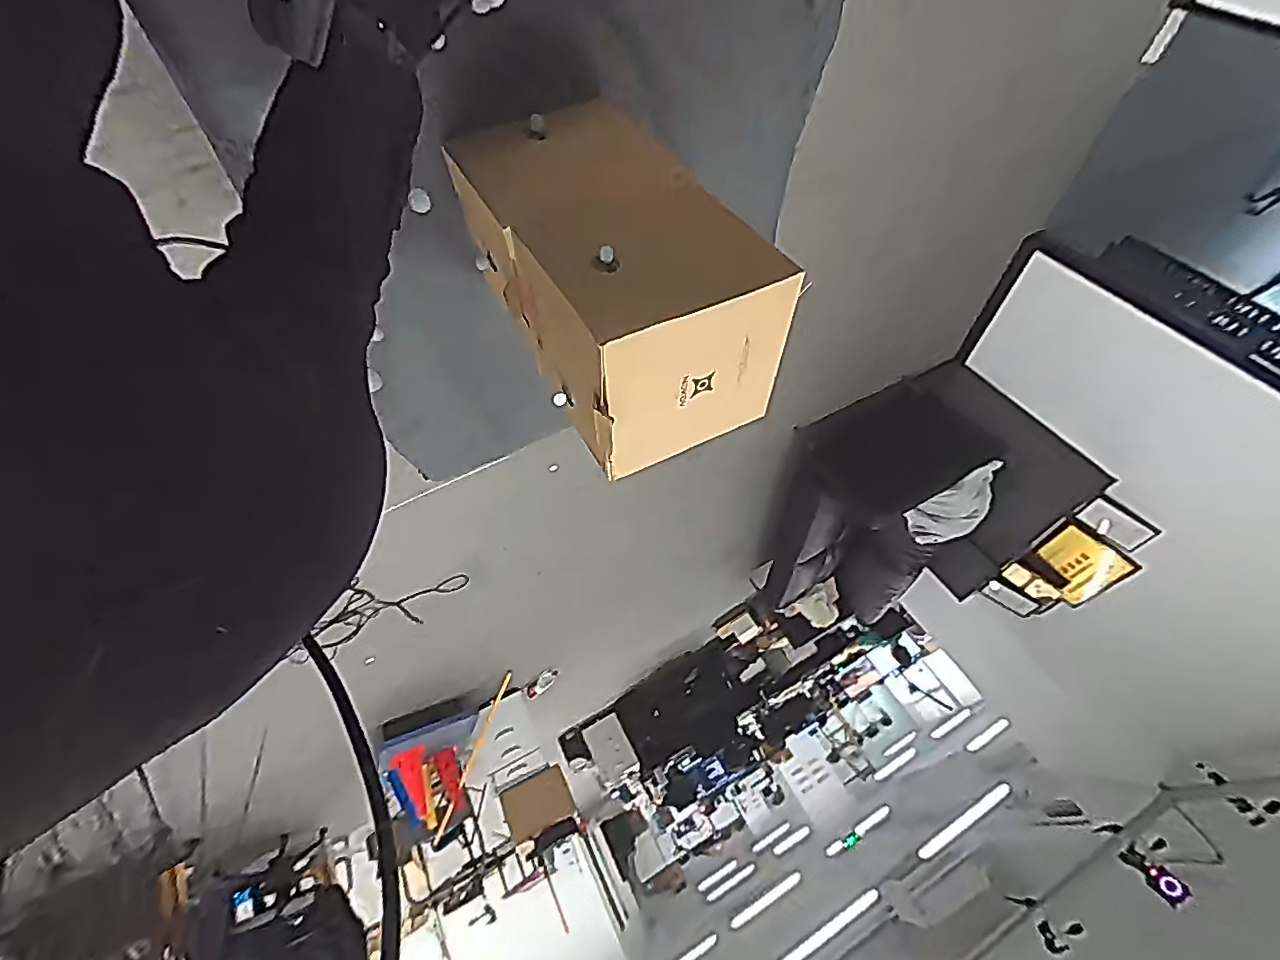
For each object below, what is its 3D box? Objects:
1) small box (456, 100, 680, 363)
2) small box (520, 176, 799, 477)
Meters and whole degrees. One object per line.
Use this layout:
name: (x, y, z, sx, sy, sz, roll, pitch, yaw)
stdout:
small box: (-0.075, -0.259, 0.564, 0.179, 0.176, 0.168, -26, 149, -13)
small box: (0.005, -0.140, 0.486, 0.179, 0.176, 0.168, -25, 150, -17)
